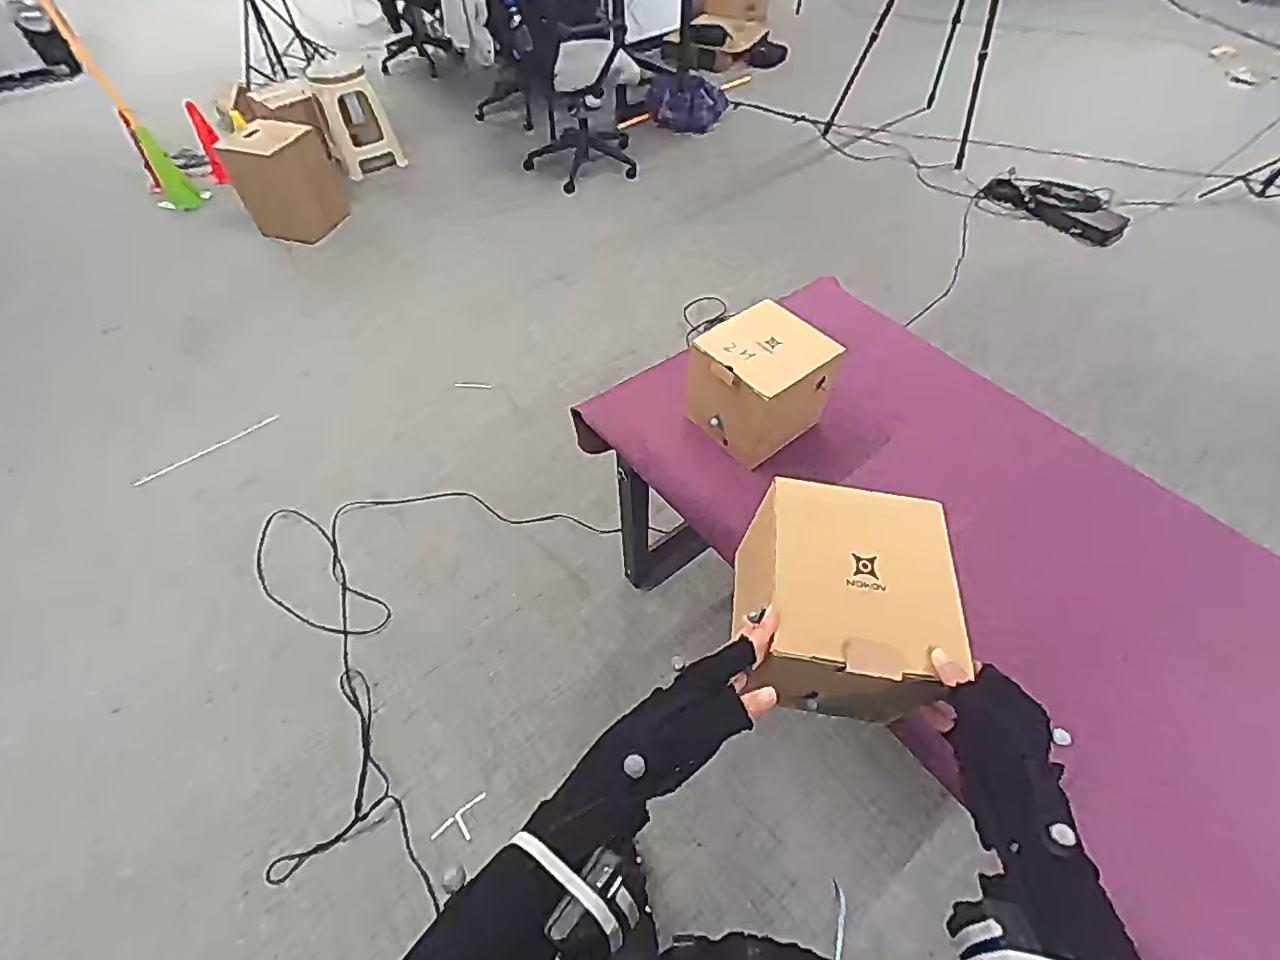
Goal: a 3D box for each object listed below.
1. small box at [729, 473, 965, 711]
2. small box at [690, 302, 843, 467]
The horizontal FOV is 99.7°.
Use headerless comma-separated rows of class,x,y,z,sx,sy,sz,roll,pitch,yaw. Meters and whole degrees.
small box,0.191,0.120,0.554,0.168,0.176,0.179,9,57,1
small box,0.197,-0.156,0.900,0.179,0.176,0.168,-33,60,-21
